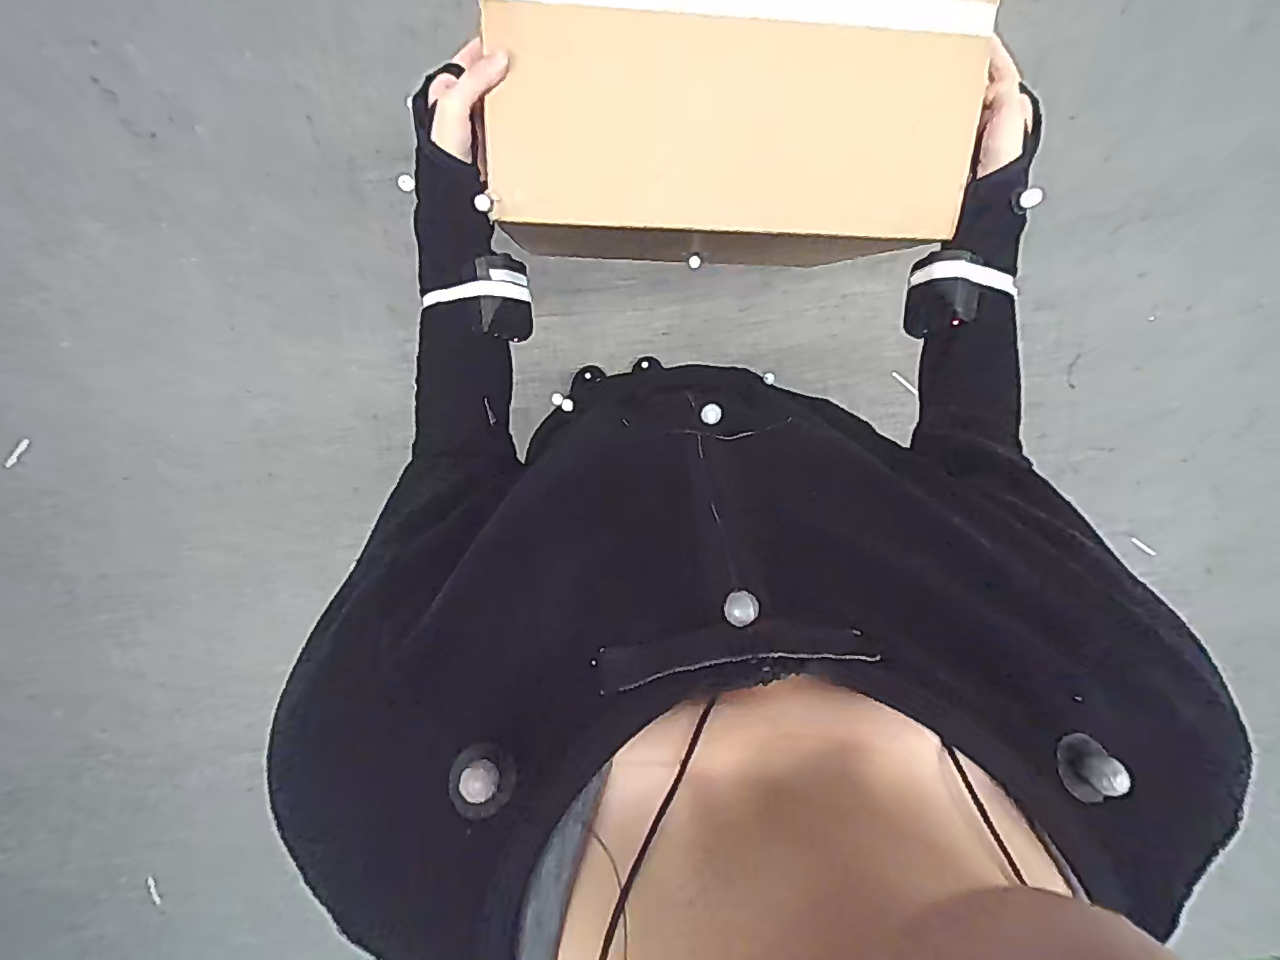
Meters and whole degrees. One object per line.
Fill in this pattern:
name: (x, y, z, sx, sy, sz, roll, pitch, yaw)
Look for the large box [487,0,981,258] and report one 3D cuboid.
large box: (0.069, -0.412, 0.573, 0.408, 0.320, 0.320, 0, 107, -5)
